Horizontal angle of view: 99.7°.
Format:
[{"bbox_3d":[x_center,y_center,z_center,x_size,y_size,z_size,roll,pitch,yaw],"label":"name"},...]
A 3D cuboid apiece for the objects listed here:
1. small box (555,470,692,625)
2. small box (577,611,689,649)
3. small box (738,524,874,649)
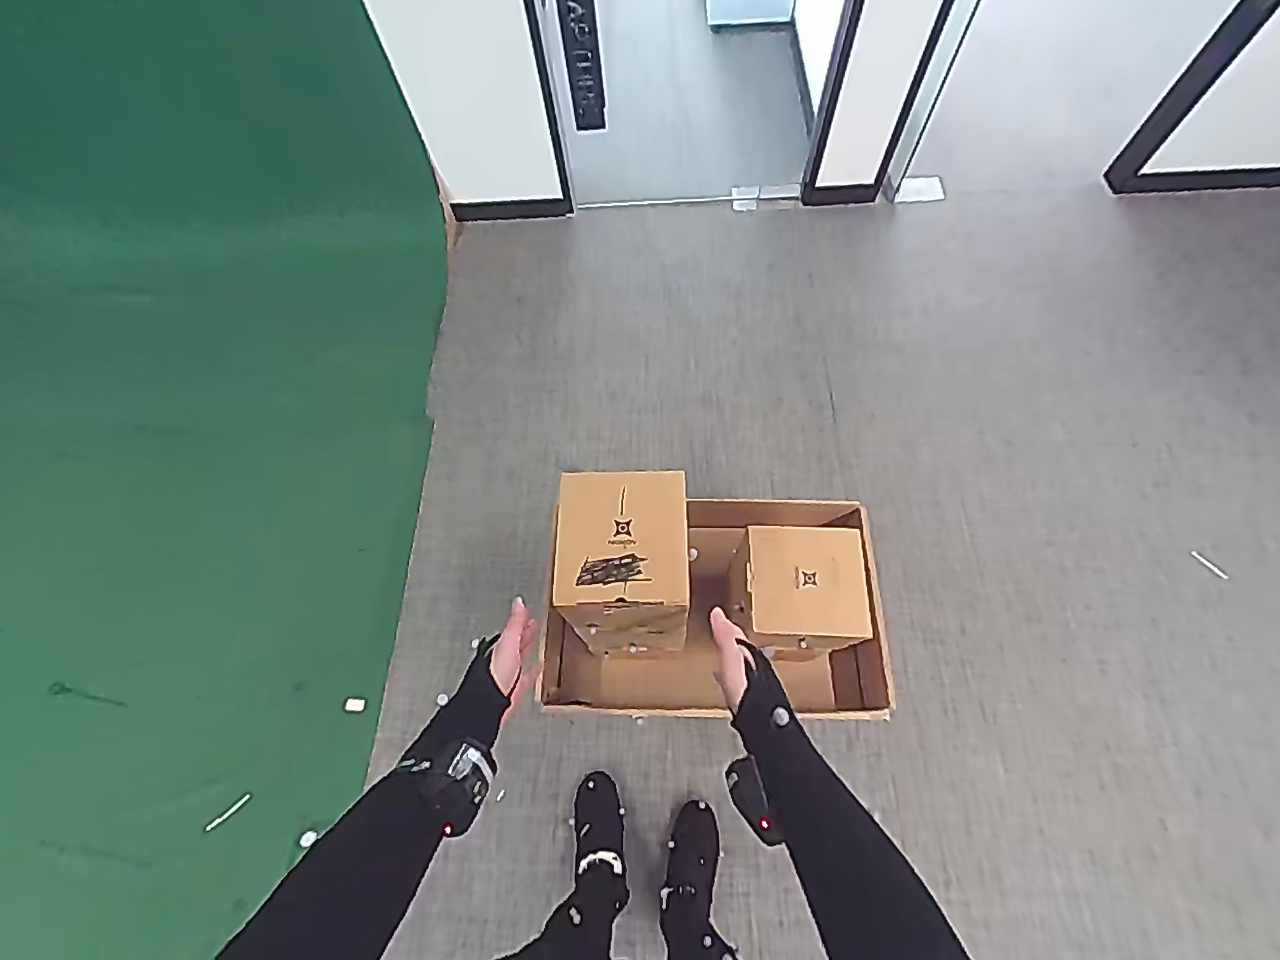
[{"bbox_3d":[-0.015,0.099,0.740,0.168,0.176,0.179,0,65,1],"label":"small box"},{"bbox_3d":[-0.006,0.173,0.887,0.168,0.176,0.179,1,66,3],"label":"small box"},{"bbox_3d":[0.255,0.179,0.878,0.179,0.176,0.168,2,67,2],"label":"small box"}]
